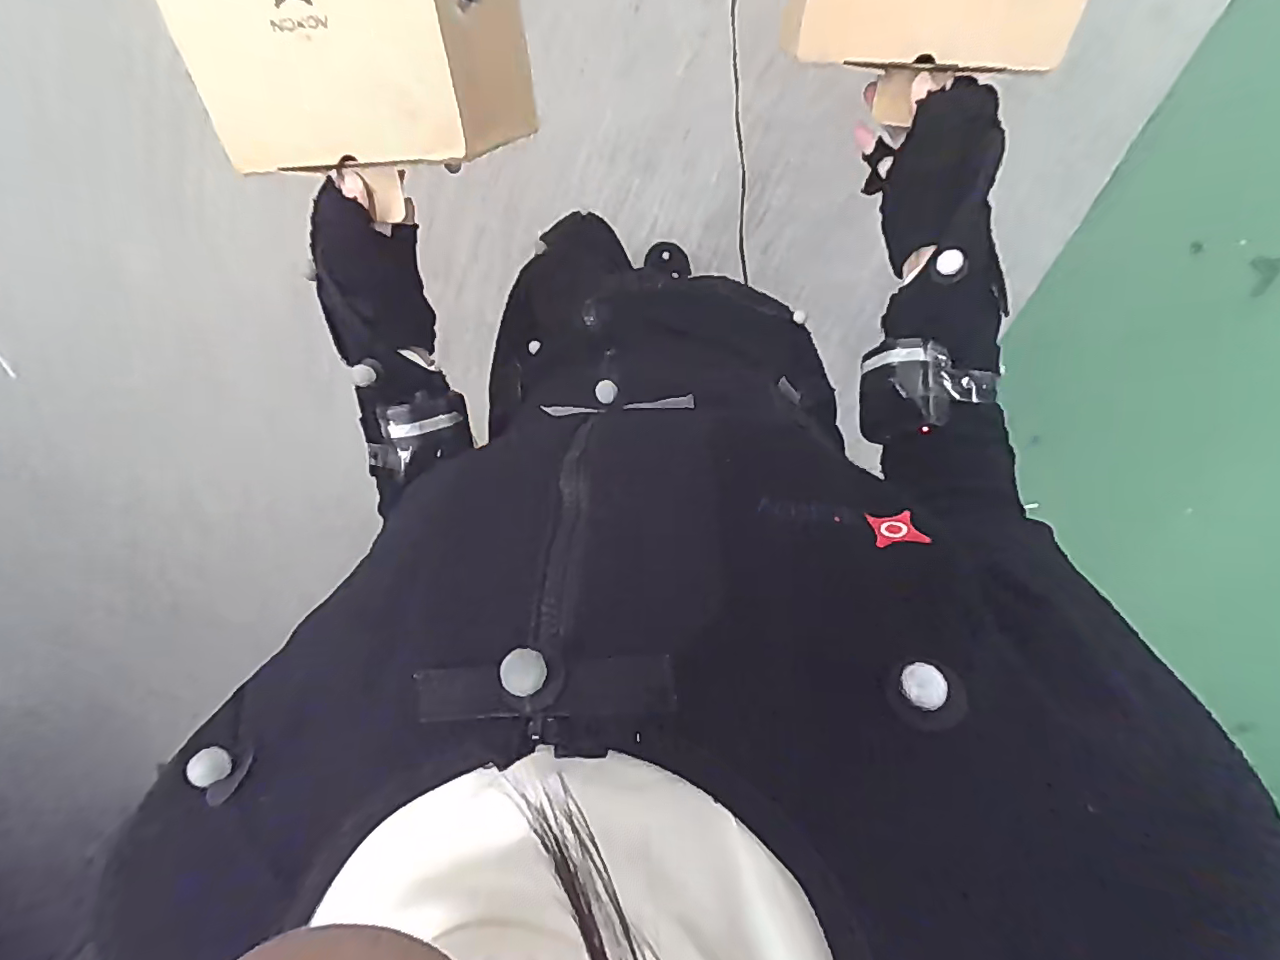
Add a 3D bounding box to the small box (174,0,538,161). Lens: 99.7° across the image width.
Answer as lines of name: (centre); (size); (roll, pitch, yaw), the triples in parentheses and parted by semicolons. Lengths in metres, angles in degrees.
small box: (-0.177, -0.329, 0.360); (0.168, 0.176, 0.179); (1, 127, 7)
